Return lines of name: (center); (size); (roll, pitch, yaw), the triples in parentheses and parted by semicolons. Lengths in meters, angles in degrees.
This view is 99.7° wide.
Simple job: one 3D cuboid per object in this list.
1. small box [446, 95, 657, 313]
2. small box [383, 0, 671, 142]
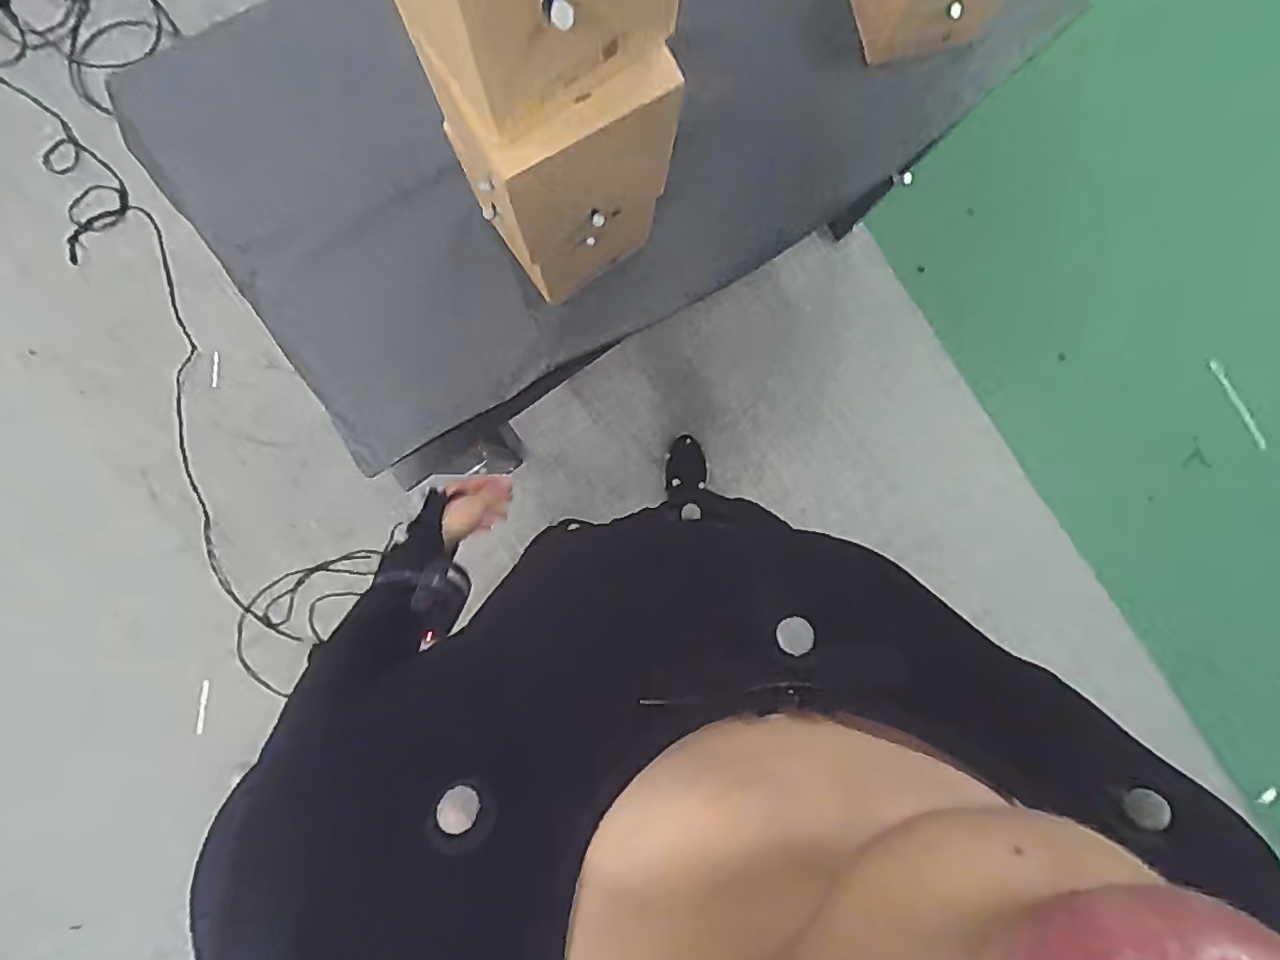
small box: (-0.099, -0.339, 0.661); (0.168, 0.176, 0.179); (-35, 91, -2)
small box: (-0.086, -0.353, 0.333); (0.168, 0.176, 0.179); (-35, 91, -2)
